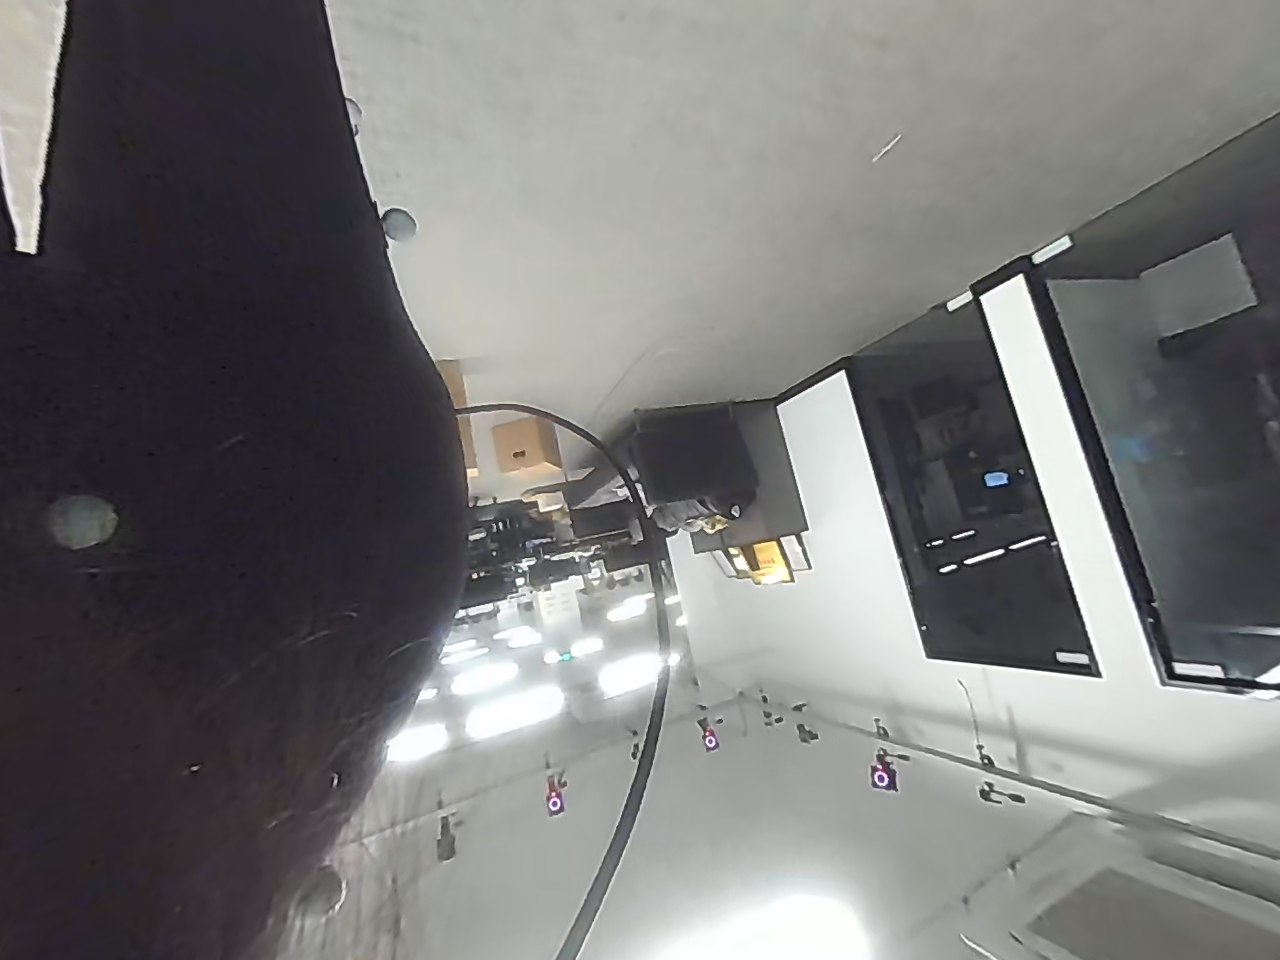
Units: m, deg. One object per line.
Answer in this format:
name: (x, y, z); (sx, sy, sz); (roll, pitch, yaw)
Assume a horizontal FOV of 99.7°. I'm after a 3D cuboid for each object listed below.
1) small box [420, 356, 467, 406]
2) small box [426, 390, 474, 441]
small box: (-0.878, -0.440, 2.406); (0.179, 0.176, 0.168); (-10, 173, -22)
small box: (-0.839, -0.284, 2.377); (0.179, 0.176, 0.168); (-12, 175, -20)
